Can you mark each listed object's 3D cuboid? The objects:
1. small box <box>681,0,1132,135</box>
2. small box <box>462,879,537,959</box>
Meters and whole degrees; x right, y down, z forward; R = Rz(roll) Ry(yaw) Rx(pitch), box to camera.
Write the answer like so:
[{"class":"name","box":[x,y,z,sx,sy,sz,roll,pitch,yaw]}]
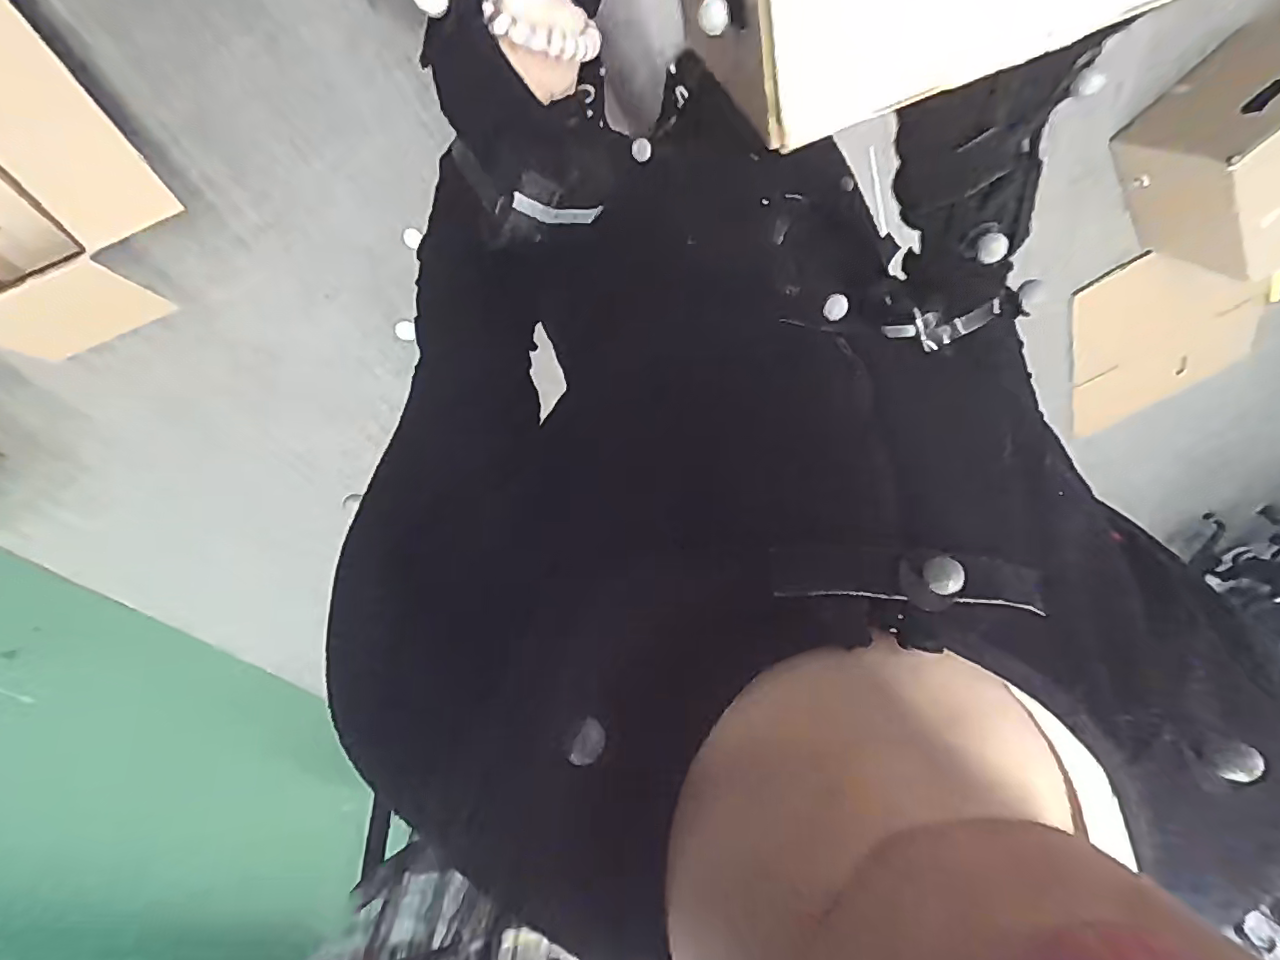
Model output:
[{"class":"small box","box":[0.087,-0.256,0.167,0.168,0.176,0.179,-18,141,8]},{"class":"small box","box":[-0.453,1.429,1.757,0.168,0.176,0.179,-29,130,9]}]
